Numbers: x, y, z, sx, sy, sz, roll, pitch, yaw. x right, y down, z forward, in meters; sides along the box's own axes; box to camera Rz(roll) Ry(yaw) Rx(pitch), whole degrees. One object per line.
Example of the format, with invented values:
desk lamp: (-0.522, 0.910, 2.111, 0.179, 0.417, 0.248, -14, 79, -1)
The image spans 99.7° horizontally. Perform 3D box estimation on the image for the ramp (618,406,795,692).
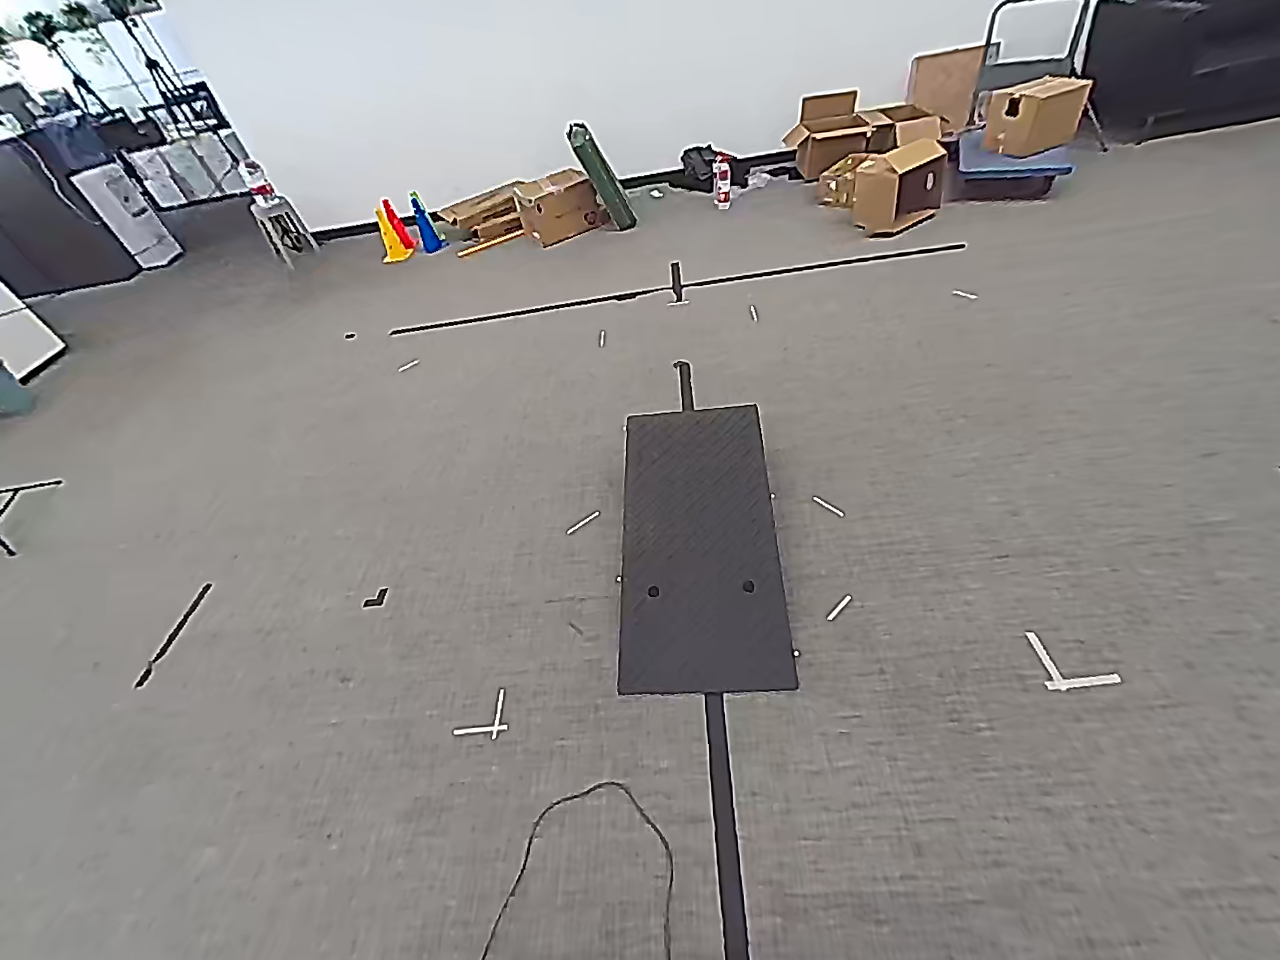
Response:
ramp: (0.184, 0.160, 1.751, 0.509, 0.206, 0.991, -5, 45, 6)
